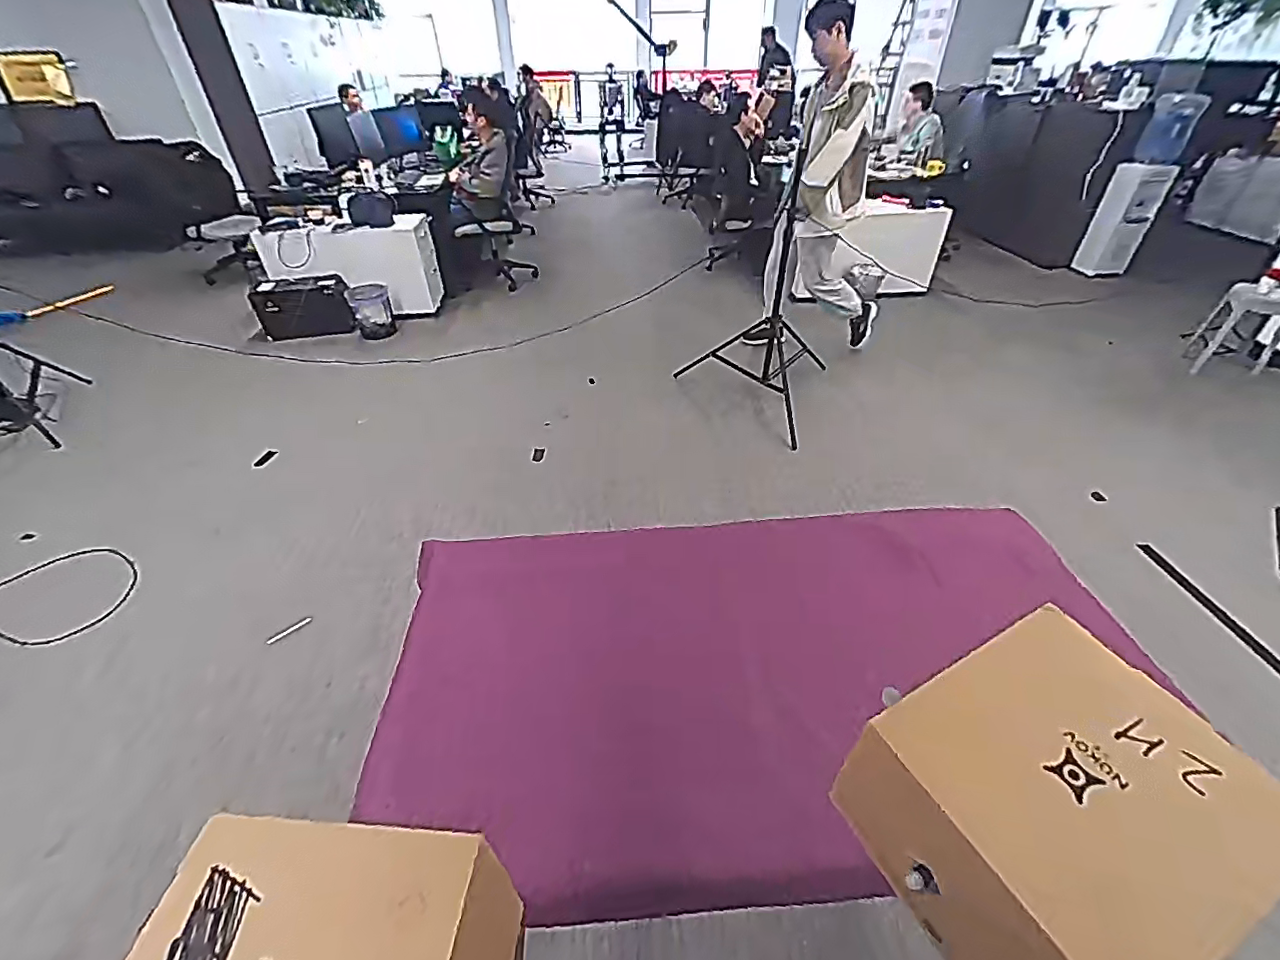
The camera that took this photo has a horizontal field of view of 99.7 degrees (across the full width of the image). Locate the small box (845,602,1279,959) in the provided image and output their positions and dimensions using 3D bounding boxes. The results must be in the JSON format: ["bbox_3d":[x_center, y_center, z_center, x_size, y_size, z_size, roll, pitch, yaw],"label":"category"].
[{"bbox_3d":[0.267,0.225,0.377,0.179,0.176,0.168,-23,48,-17],"label":"small box"}]
